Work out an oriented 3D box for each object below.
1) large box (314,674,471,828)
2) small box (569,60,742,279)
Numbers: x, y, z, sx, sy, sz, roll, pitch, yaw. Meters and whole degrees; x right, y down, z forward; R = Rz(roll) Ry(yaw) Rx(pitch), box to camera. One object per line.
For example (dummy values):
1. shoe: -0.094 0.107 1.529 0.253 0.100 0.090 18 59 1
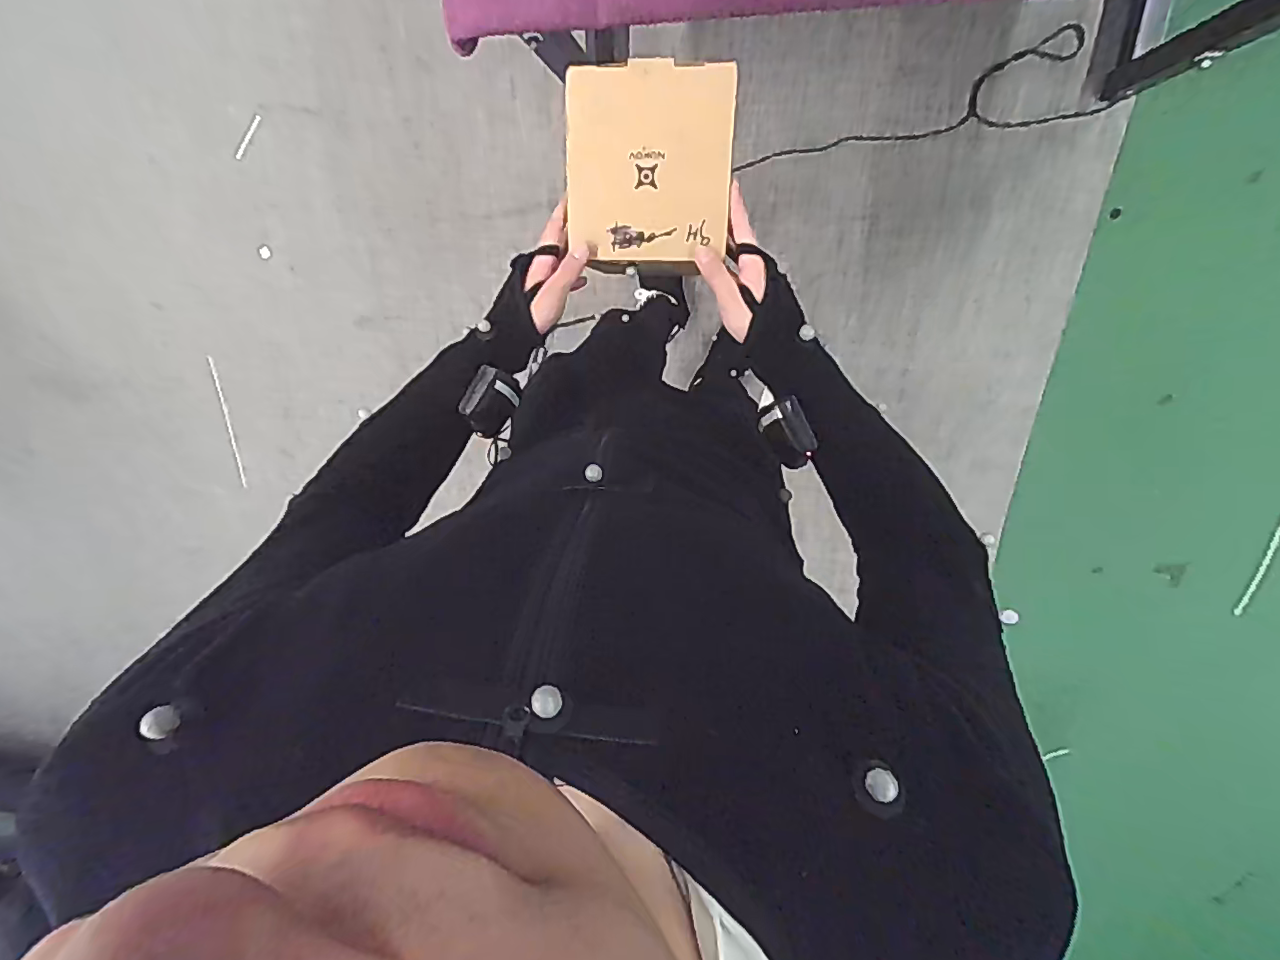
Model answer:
1. large box: -0.950 1.043 2.106 0.408 0.320 0.320 34 114 -5
2. small box: 0.020 -0.328 0.604 0.168 0.176 0.179 4 106 7
